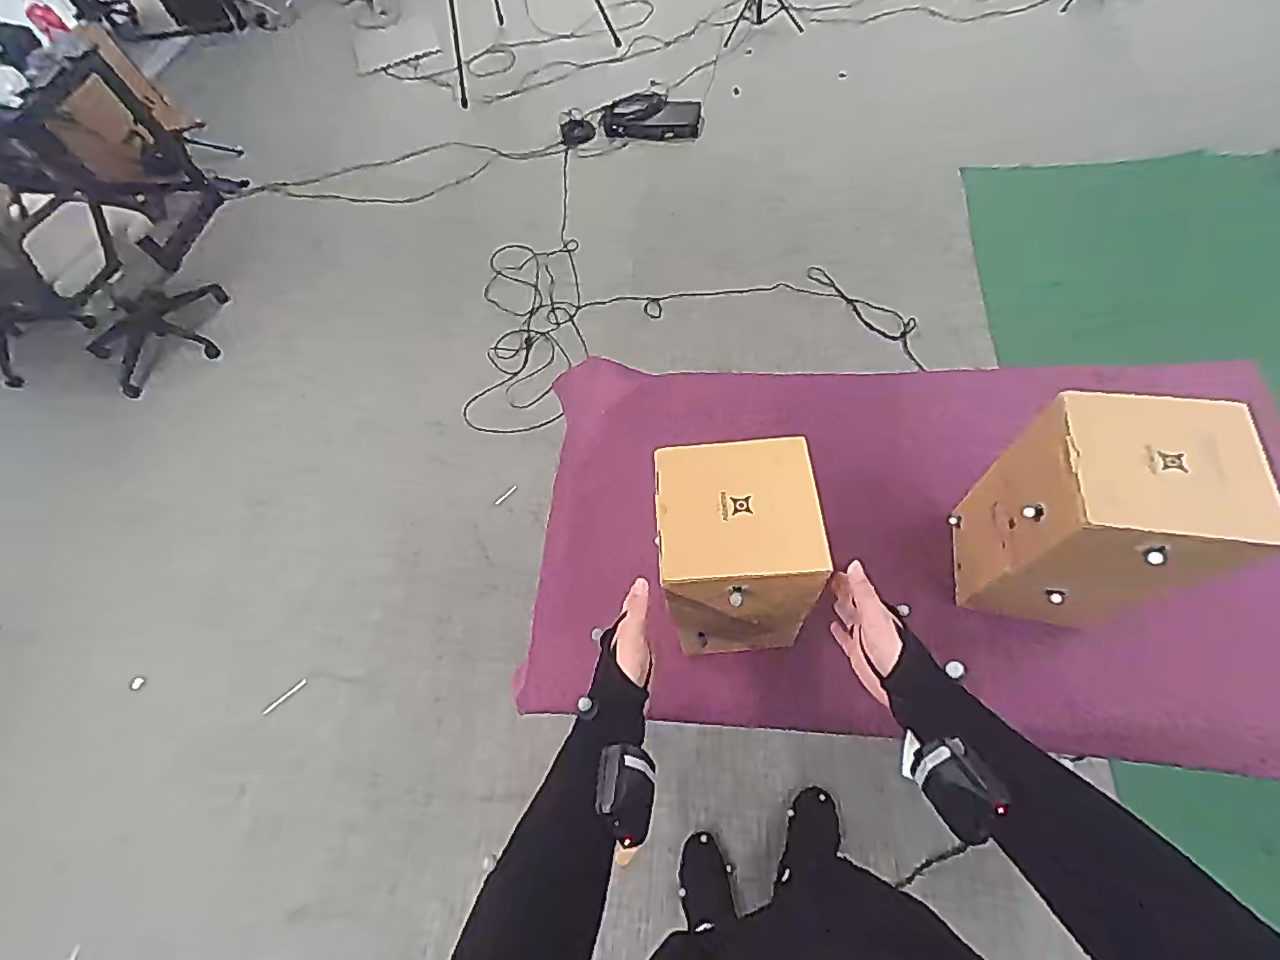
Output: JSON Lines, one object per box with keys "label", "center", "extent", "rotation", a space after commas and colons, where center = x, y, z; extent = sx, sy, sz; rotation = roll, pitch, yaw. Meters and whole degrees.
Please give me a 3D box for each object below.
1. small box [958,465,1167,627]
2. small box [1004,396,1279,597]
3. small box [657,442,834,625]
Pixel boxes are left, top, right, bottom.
{"label": "small box", "center": [0.568, 0.098, 0.762], "extent": [0.179, 0.176, 0.168], "rotation": [8, 64, 11]}
{"label": "small box", "center": [0.546, 0.024, 0.619], "extent": [0.179, 0.176, 0.168], "rotation": [7, 64, 12]}
{"label": "small box", "center": [0.117, 0.072, 0.655], "extent": [0.179, 0.176, 0.168], "rotation": [-5, 60, 6]}
